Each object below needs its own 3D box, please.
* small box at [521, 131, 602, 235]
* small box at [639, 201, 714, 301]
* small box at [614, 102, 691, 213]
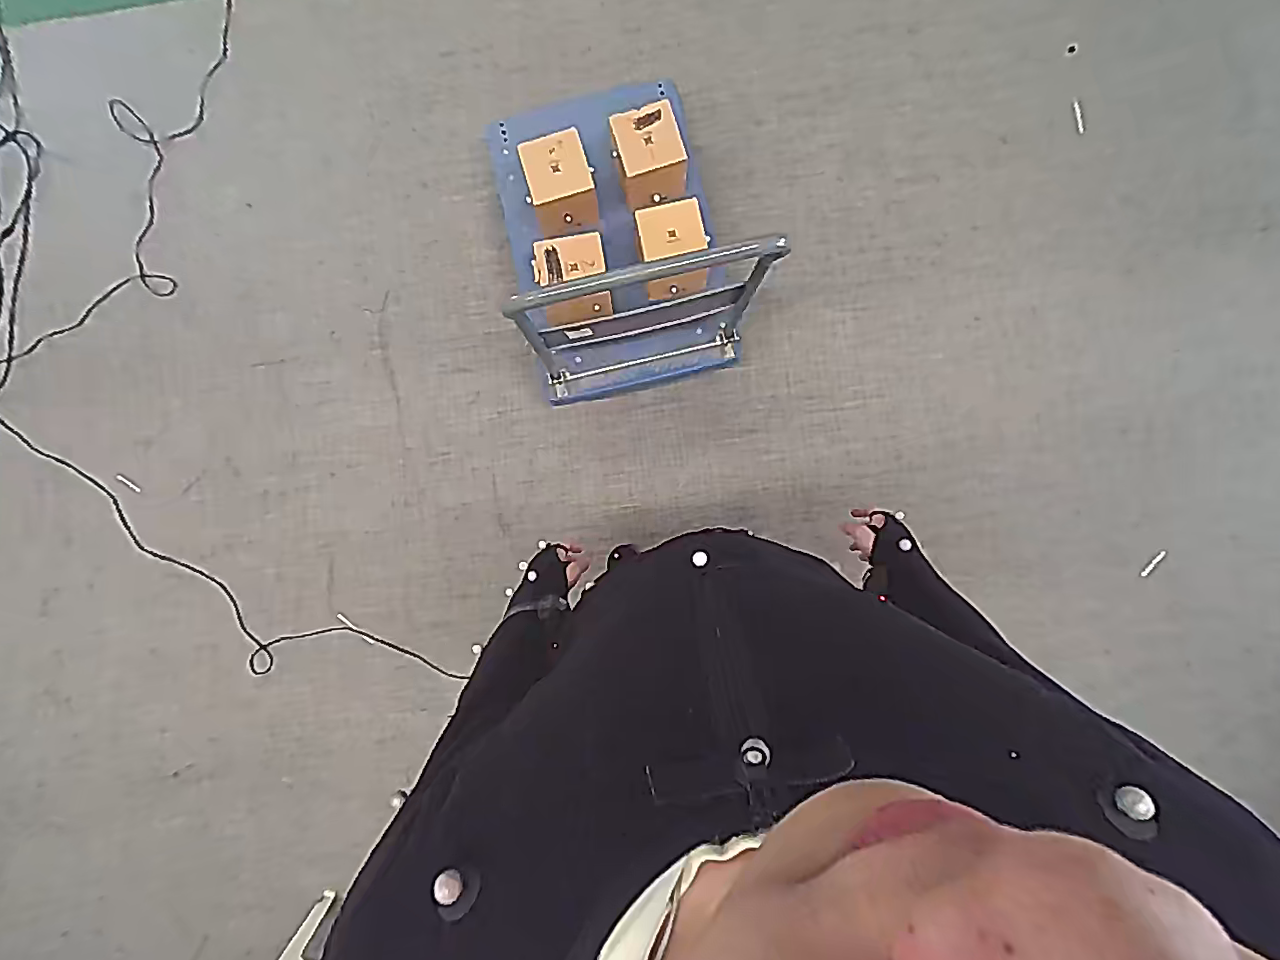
[{"bbox_3d":[-0.208,-0.798,1.478,0.168,0.176,0.179,-16,85,0],"label":"small box"},{"bbox_3d":[0.093,-0.609,1.455,0.168,0.176,0.179,-12,86,1],"label":"small box"},{"bbox_3d":[0.032,-0.872,1.476,0.168,0.176,0.179,-17,86,1],"label":"small box"}]
